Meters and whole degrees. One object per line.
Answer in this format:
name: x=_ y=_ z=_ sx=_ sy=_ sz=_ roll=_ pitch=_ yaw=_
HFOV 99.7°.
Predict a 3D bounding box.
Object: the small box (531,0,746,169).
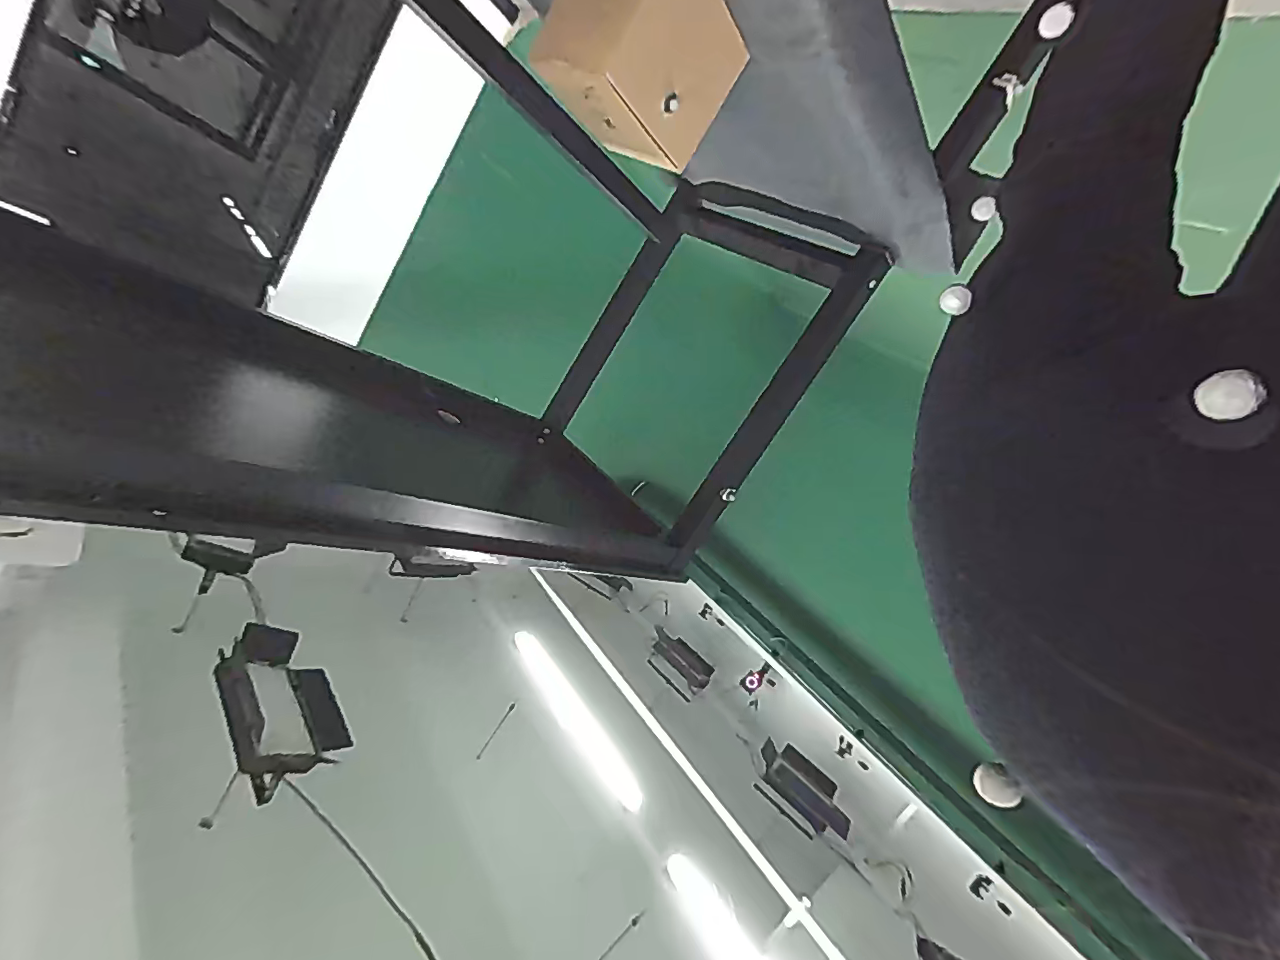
small box: x=0.004 y=-0.542 z=0.683 sx=0.168 sy=0.176 sz=0.179 roll=40 pitch=-167 yaw=33
